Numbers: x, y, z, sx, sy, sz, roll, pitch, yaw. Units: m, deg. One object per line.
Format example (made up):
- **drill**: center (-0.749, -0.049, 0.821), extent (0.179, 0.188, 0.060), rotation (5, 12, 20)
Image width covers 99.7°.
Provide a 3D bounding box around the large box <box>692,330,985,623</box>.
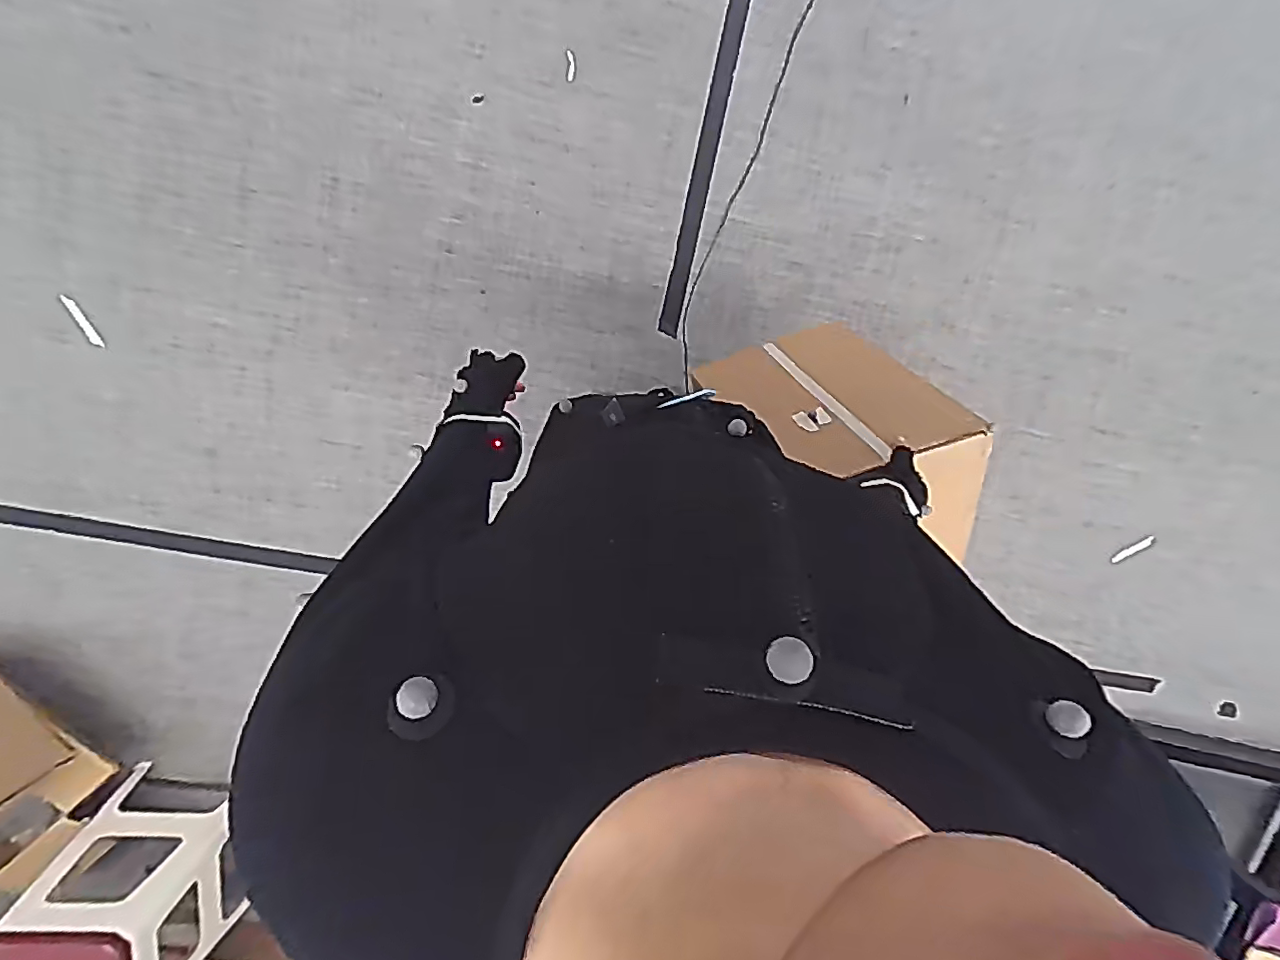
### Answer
- **large box**: center (0.317, -0.022, 0.990), extent (0.320, 0.408, 0.320), rotation (-18, 130, -3)
